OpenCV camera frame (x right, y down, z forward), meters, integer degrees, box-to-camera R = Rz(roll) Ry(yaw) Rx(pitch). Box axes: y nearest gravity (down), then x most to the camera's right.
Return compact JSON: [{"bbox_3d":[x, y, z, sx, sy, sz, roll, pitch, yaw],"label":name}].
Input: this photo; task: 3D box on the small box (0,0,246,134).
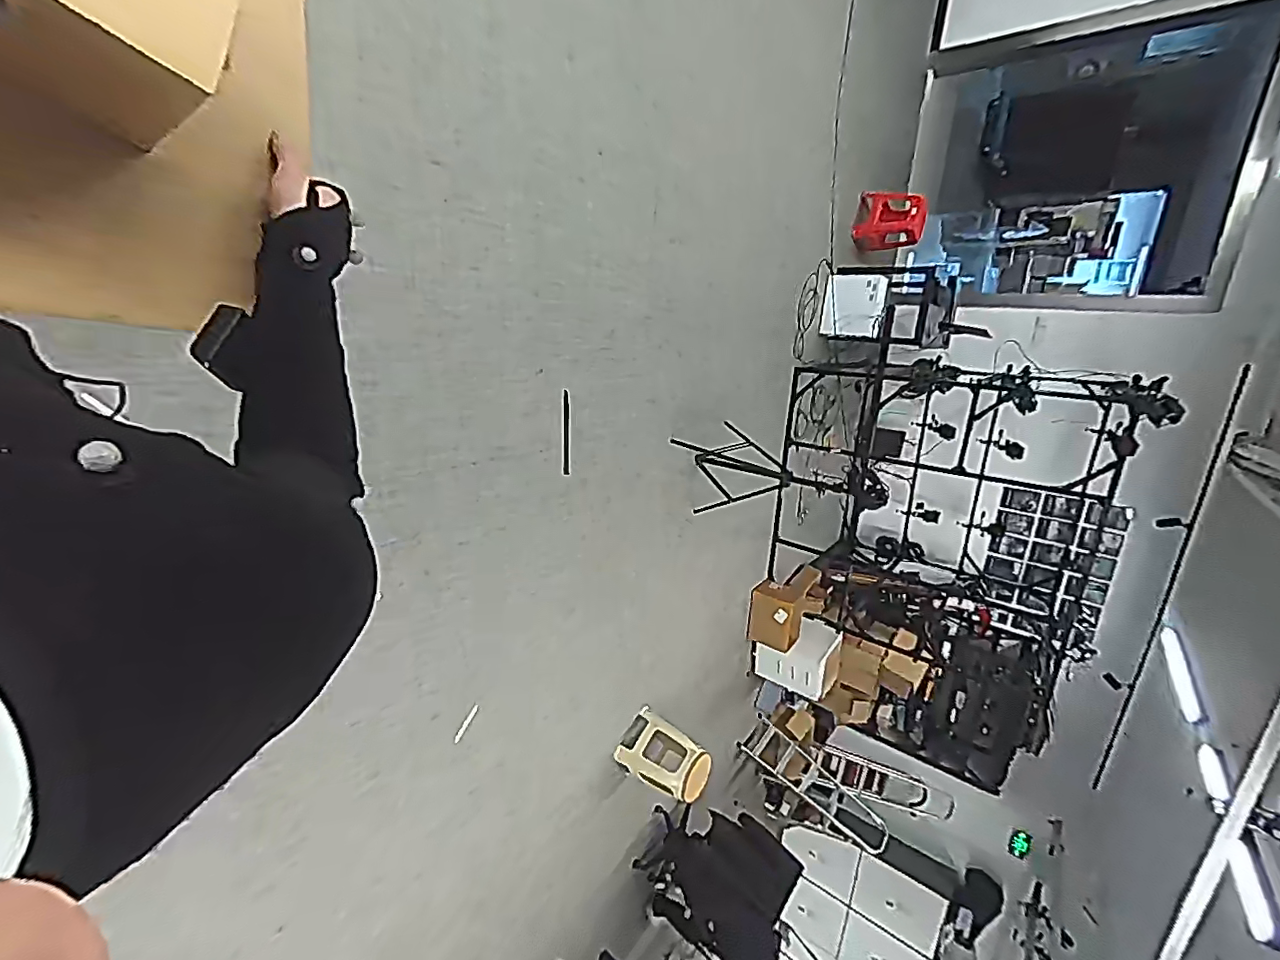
[{"bbox_3d":[-0.380,-0.360,0.348,0.179,0.176,0.168,17,85,-52],"label":"small box"}]
